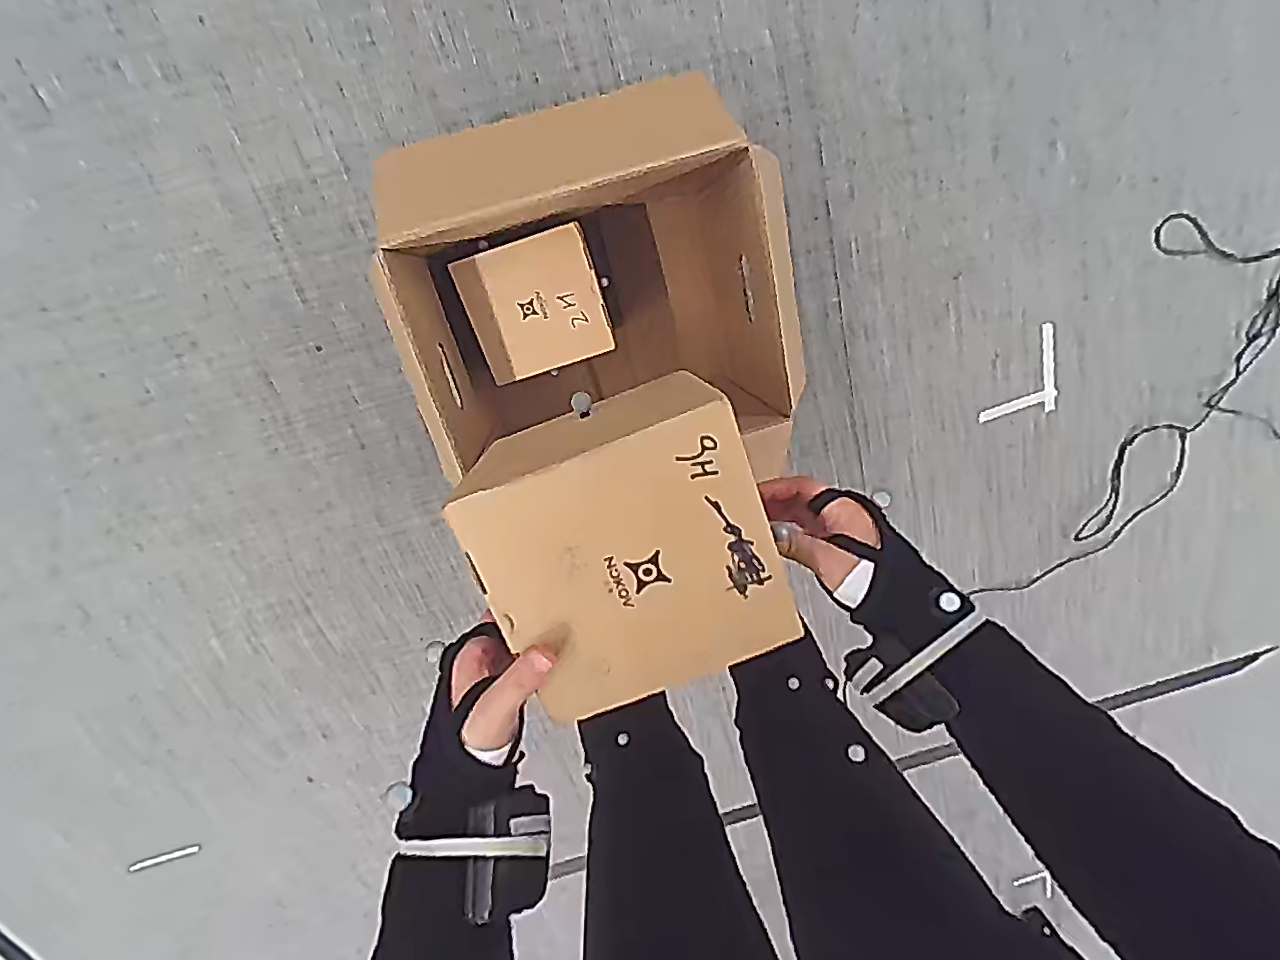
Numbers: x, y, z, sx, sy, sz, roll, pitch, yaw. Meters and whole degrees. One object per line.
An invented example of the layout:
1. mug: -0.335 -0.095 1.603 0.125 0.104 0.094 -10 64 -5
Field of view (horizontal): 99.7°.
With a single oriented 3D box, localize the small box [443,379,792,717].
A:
1. small box: -0.012 0.034 0.409 0.179 0.176 0.168 -21 107 3
